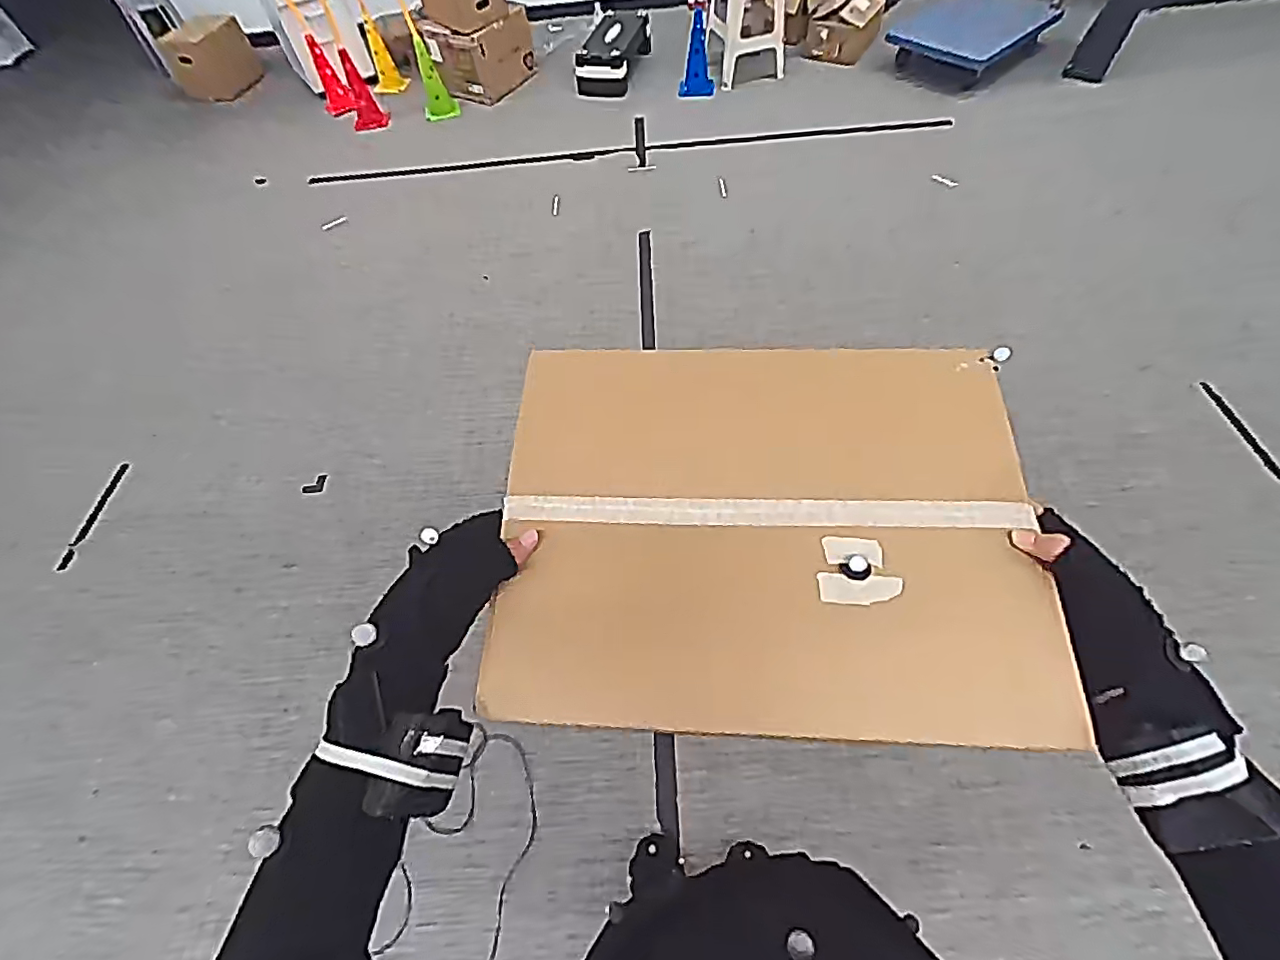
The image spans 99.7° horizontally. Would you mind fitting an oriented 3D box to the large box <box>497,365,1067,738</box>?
[{"bbox_3d":[0.105,0.098,0.574,0.408,0.320,0.320,1,66,4],"label":"large box"}]
